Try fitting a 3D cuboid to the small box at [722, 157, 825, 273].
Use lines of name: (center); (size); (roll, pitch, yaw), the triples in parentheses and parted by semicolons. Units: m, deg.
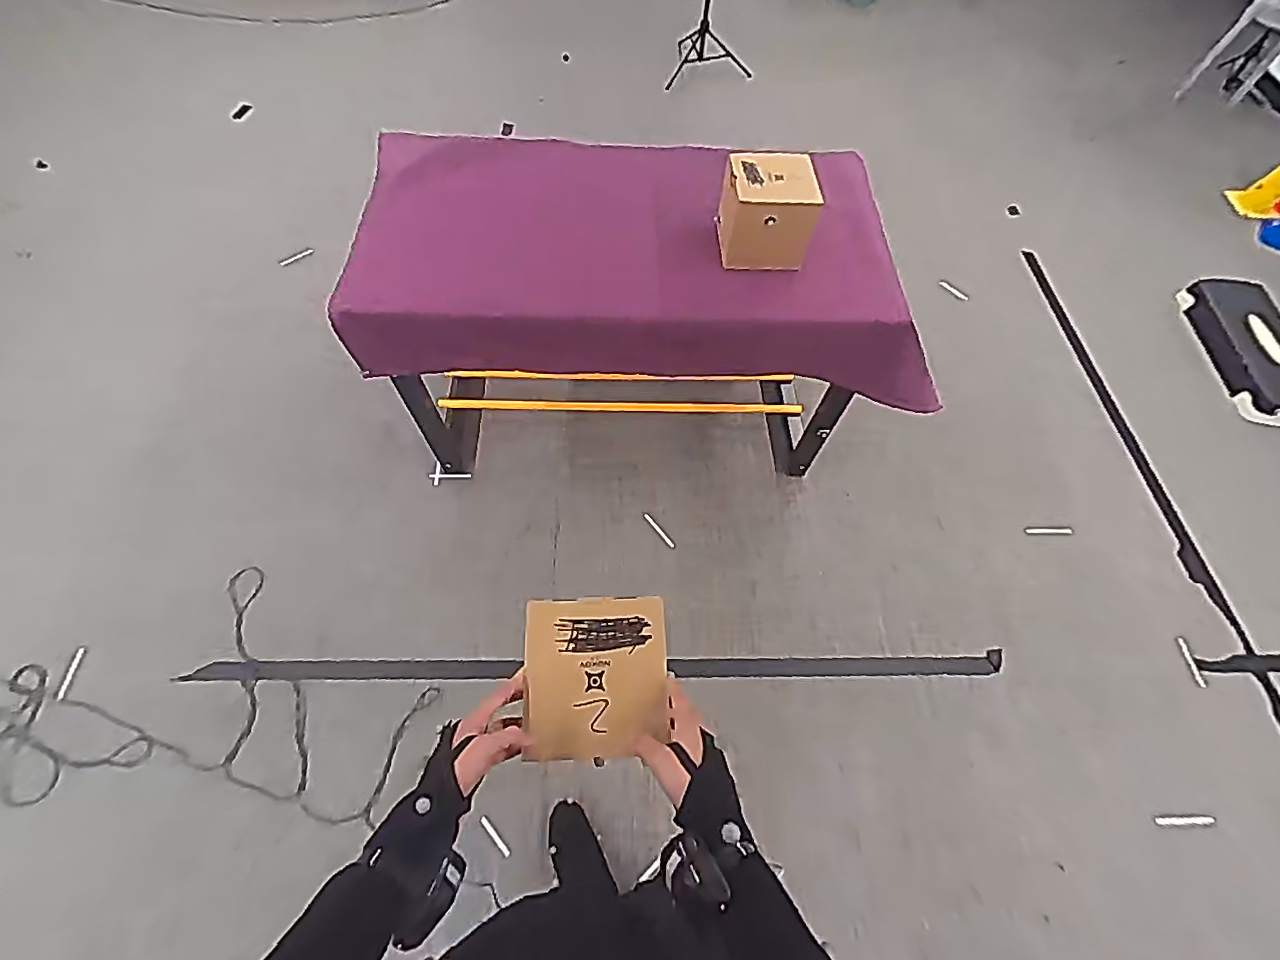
small box: (0.280, -0.574, 1.180); (0.179, 0.176, 0.168); (0, 62, -3)
